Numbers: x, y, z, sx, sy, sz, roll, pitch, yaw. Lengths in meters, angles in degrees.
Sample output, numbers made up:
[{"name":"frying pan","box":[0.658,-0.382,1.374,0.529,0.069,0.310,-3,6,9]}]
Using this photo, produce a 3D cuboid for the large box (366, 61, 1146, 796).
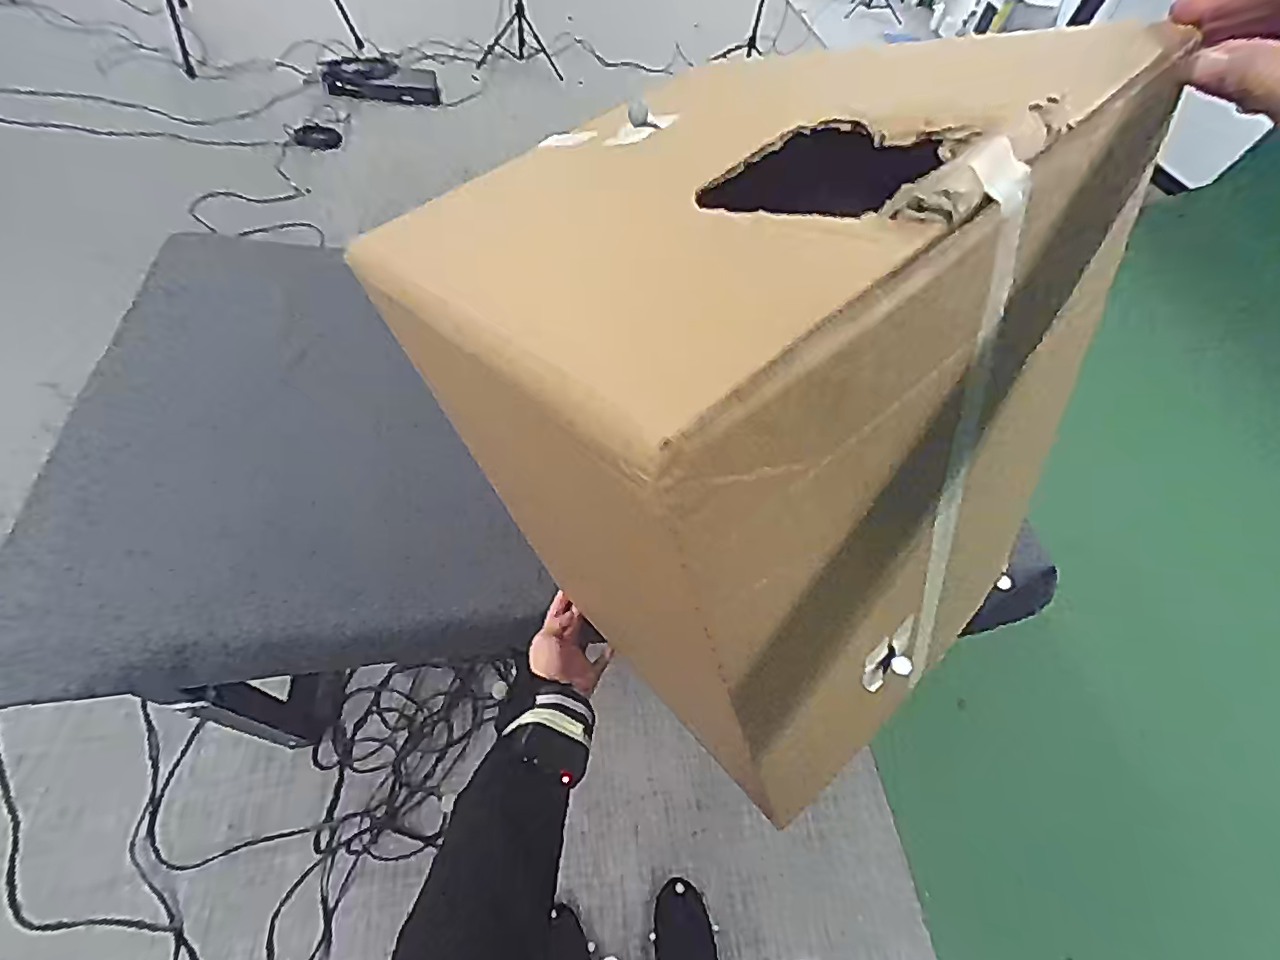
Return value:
[{"name":"large box","box":[0.075,-0.034,0.431,0.320,0.408,0.320,-39,48,-17]}]
